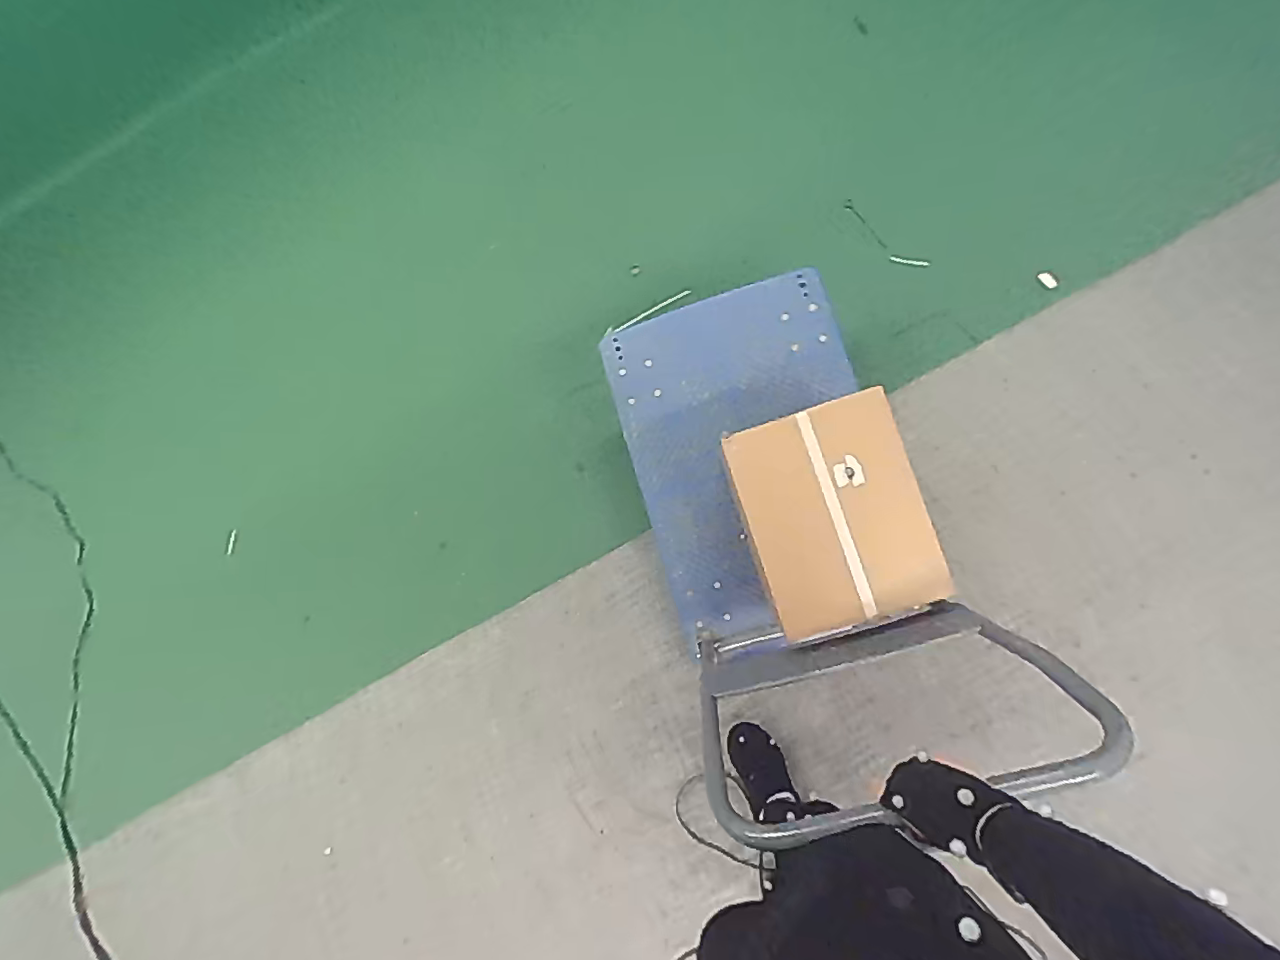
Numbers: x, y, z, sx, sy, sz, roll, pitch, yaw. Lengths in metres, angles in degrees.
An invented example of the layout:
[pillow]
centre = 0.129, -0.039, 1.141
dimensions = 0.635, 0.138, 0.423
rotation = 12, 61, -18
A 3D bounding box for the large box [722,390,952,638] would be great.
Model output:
[large box]
centre = 0.386, 0.072, 1.159
dimensions = 0.320, 0.320, 0.408
rotation = -18, 84, 6
